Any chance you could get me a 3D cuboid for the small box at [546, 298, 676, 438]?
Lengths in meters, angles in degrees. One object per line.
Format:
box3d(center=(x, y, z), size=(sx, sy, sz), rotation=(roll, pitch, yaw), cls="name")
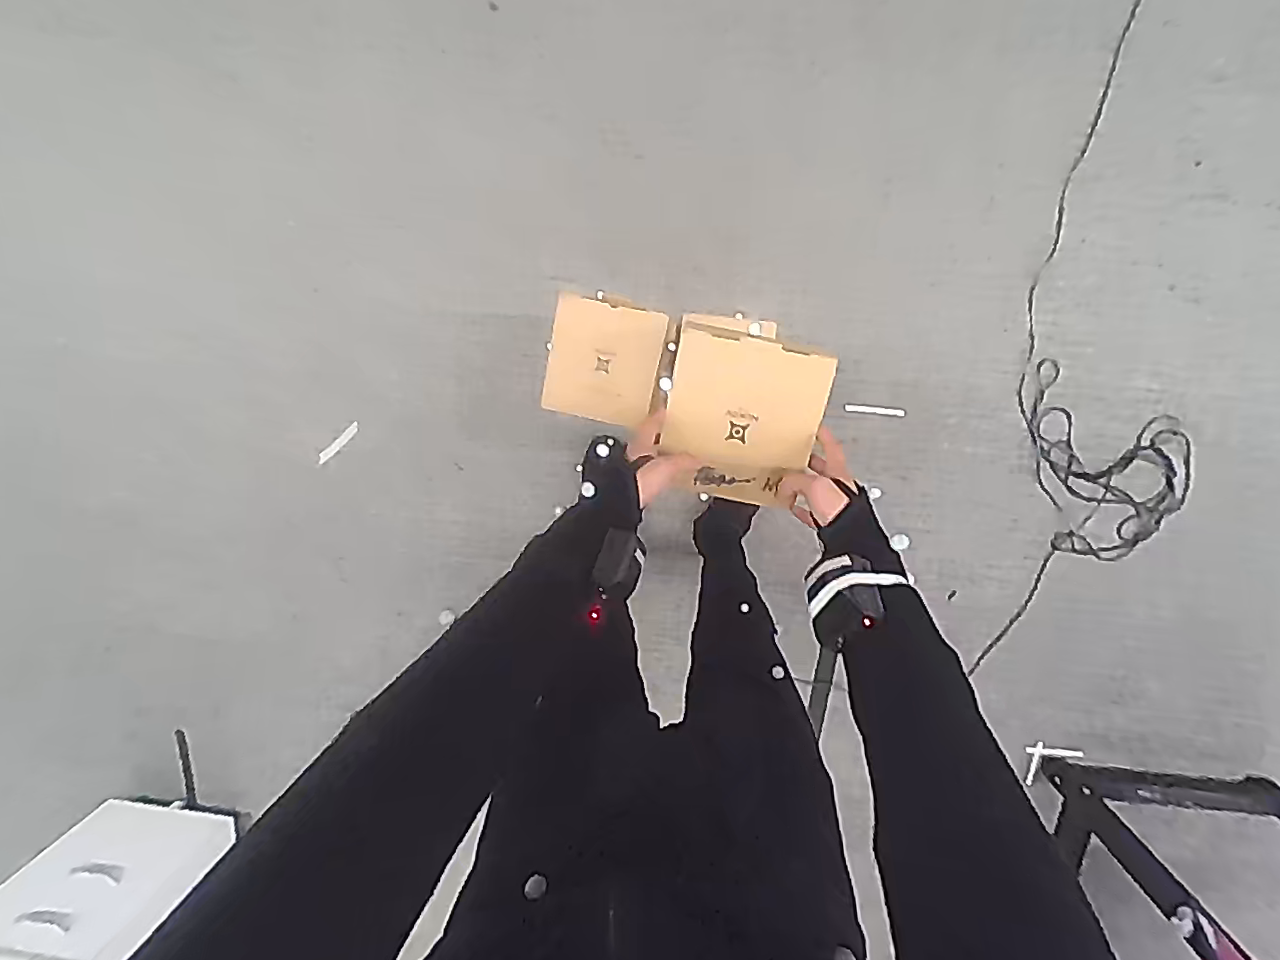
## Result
box3d(center=(-0.041, -0.181, 0.880), size=(0.168, 0.176, 0.179), rotation=(14, 104, 2), cls="small box")
